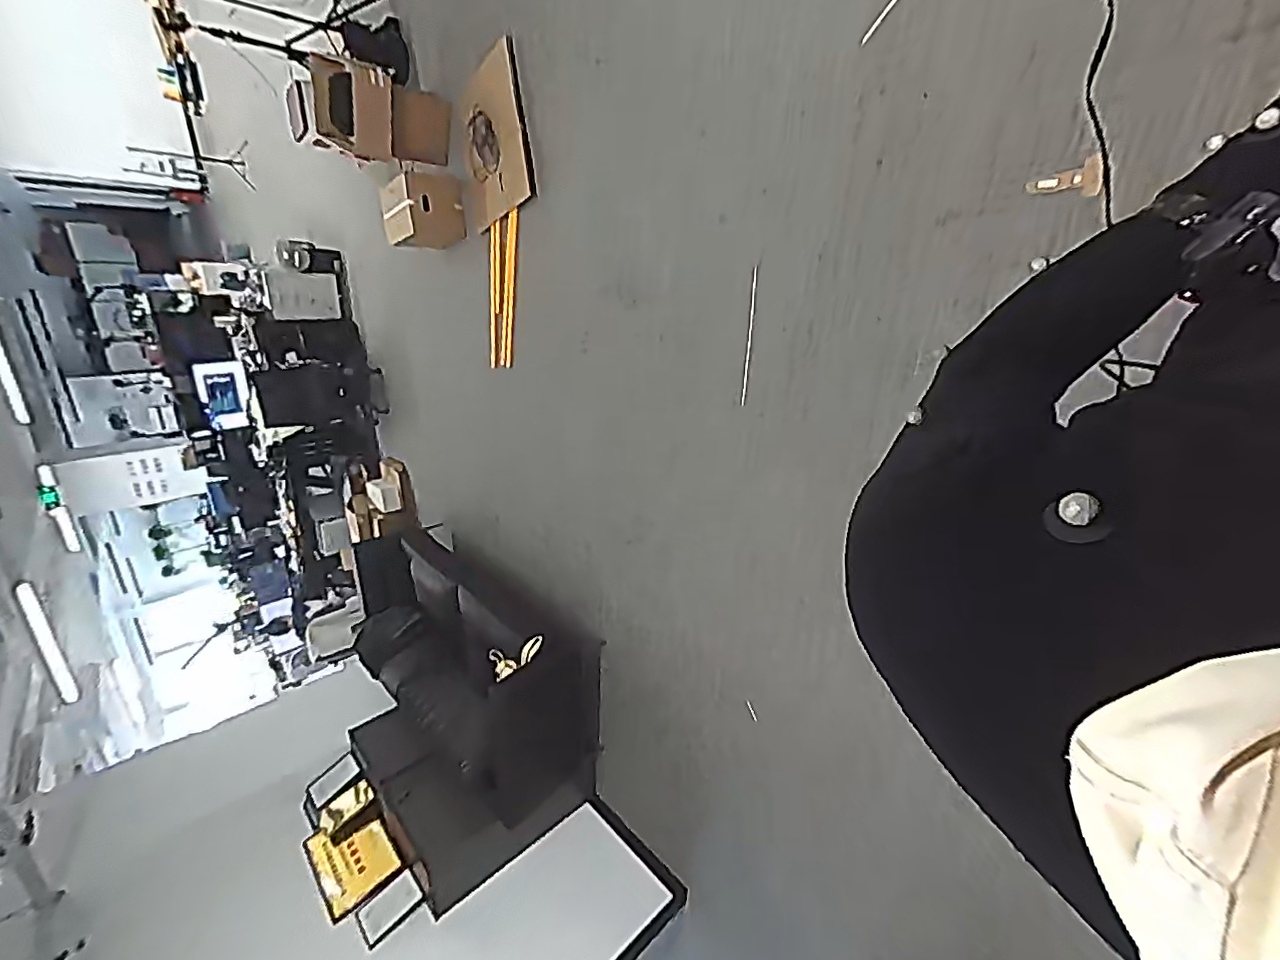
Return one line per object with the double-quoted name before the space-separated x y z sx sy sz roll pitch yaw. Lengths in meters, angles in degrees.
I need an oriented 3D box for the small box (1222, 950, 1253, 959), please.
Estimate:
"small box" 1.417 1.246 1.226 0.168 0.176 0.179 22 118 42
